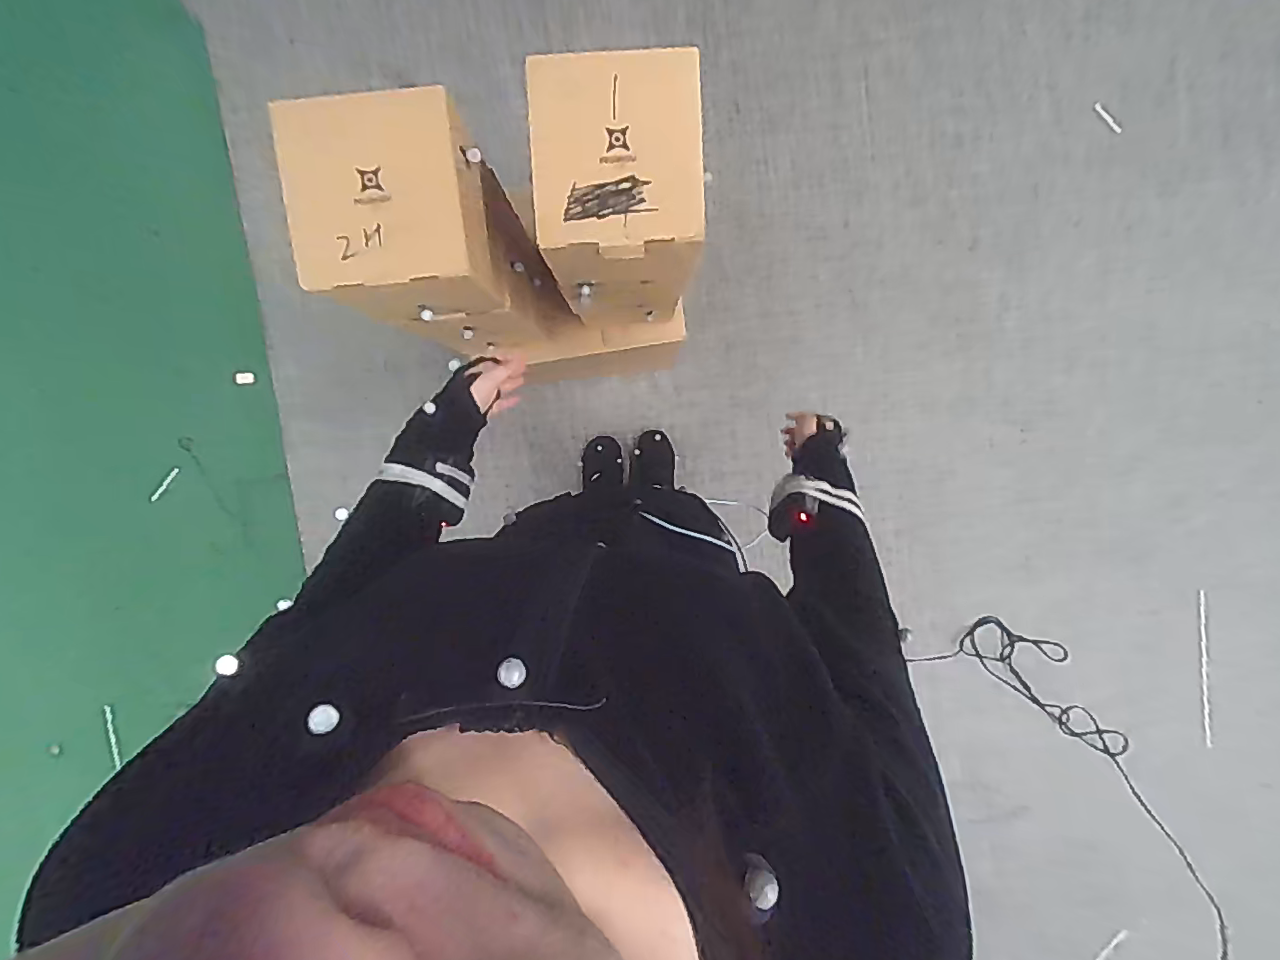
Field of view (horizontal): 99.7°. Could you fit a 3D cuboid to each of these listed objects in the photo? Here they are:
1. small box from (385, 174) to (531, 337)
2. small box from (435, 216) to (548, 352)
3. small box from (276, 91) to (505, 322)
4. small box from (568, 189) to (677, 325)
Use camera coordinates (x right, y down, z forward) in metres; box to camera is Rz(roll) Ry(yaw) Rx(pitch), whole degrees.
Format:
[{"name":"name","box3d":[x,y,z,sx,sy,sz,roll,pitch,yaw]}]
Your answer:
[{"name":"small box","box3d":[-0.255,-0.300,0.762,0.168,0.176,0.179,-6,98,-1]},{"name":"small box","box3d":[-0.259,-0.325,0.925,0.168,0.176,0.179,-7,97,-1]},{"name":"small box","box3d":[-0.256,-0.284,0.598,0.168,0.176,0.179,-5,97,0]},{"name":"small box","box3d":[-0.025,-0.365,0.920,0.168,0.176,0.179,-4,95,1]}]
